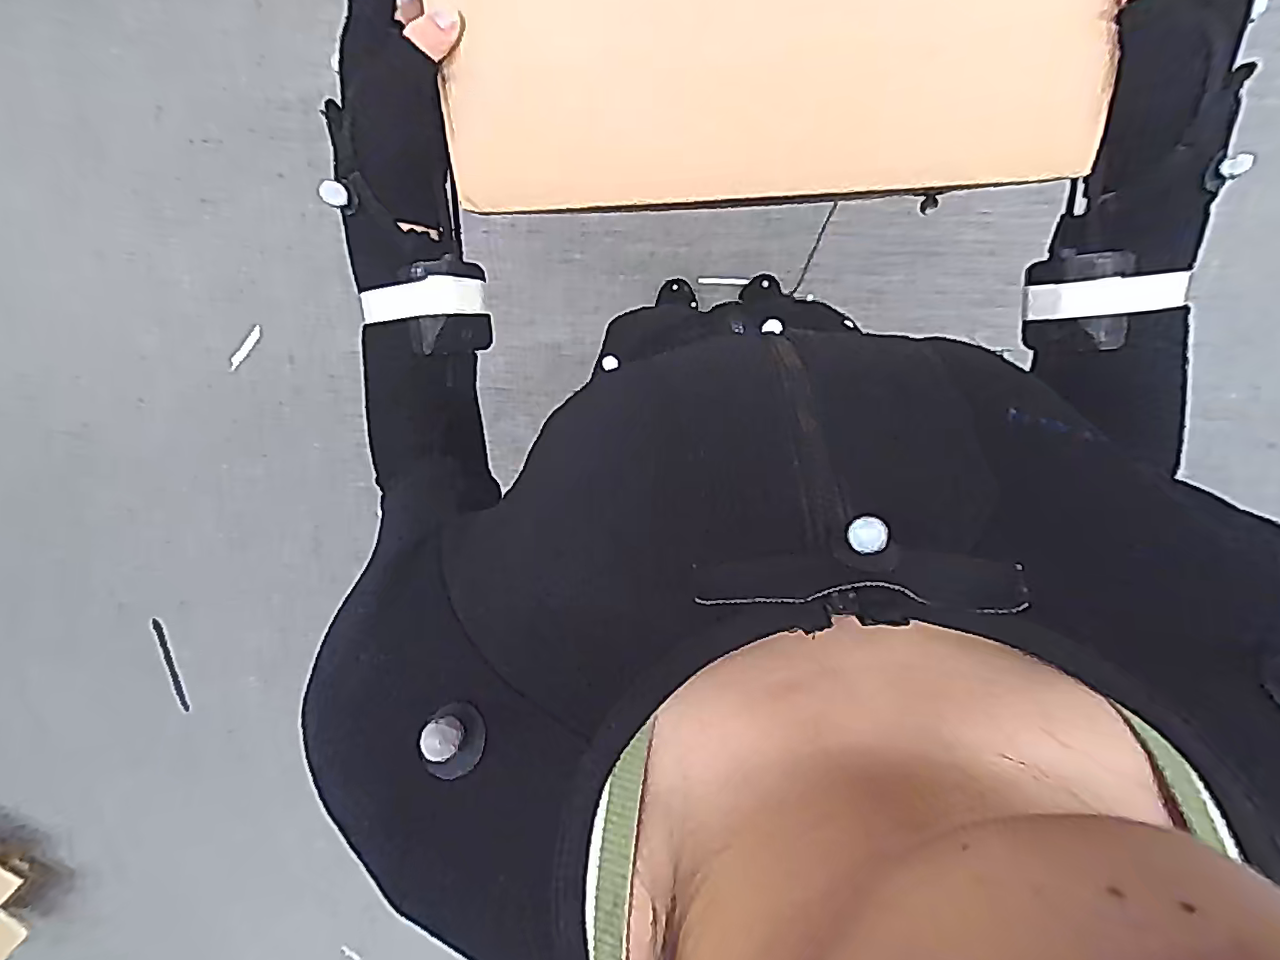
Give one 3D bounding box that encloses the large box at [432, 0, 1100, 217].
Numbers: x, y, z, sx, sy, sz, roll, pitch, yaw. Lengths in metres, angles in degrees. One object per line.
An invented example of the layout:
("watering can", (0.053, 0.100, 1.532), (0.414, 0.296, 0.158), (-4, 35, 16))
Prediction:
("large box", (0.077, -0.399, 0.433), (0.408, 0.320, 0.320), (-2, 116, 4))
